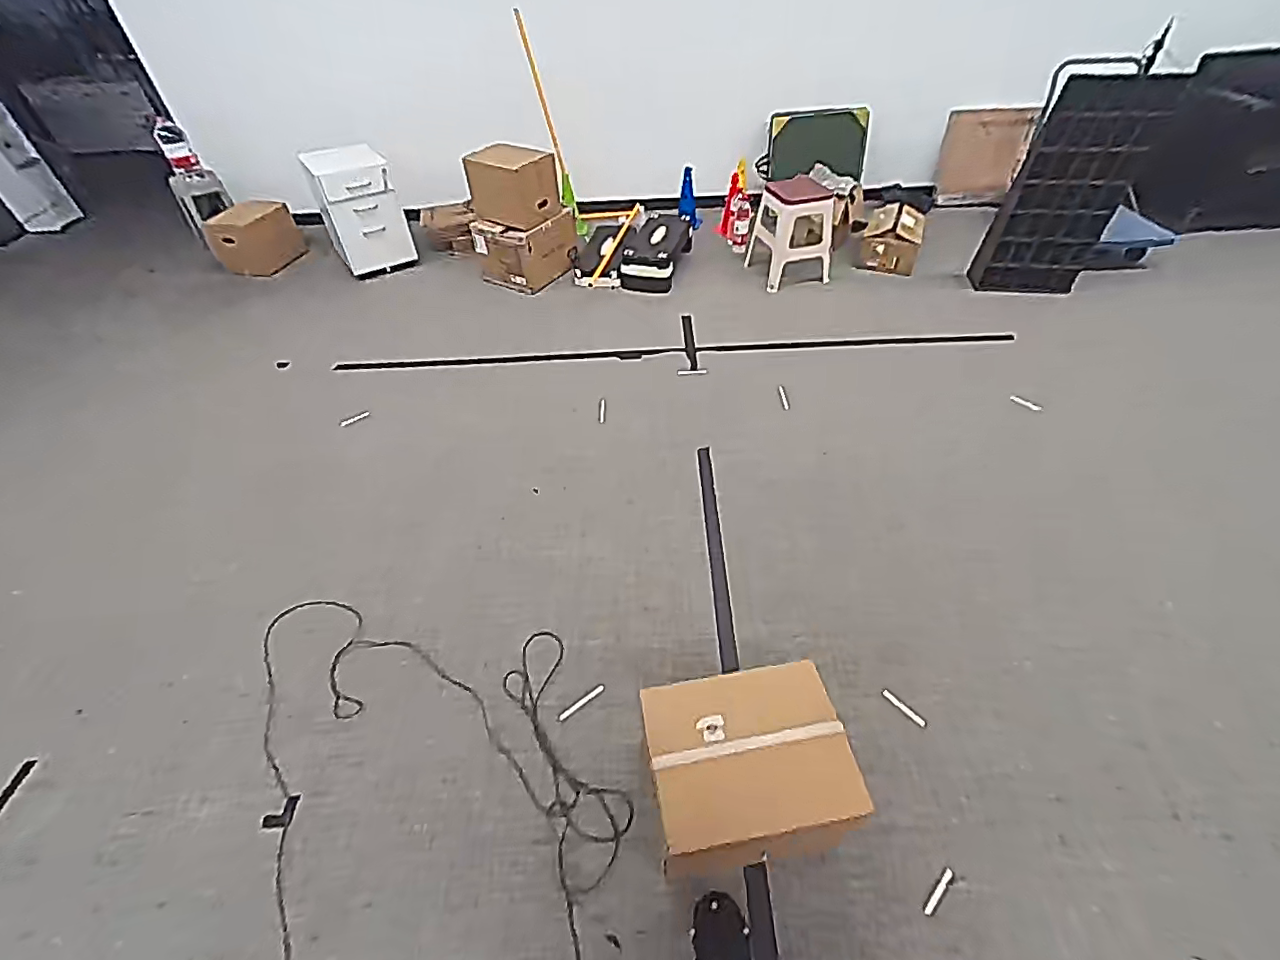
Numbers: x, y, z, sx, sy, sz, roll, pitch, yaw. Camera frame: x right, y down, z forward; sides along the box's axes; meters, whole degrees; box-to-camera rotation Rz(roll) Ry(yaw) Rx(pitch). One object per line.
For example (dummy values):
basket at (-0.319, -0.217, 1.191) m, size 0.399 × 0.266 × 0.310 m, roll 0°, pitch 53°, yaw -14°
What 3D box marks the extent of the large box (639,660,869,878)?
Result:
large box at (0.226, 0.653, 1.221) m, size 0.408 × 0.320 × 0.320 m, roll -9°, pitch 46°, yaw -5°
